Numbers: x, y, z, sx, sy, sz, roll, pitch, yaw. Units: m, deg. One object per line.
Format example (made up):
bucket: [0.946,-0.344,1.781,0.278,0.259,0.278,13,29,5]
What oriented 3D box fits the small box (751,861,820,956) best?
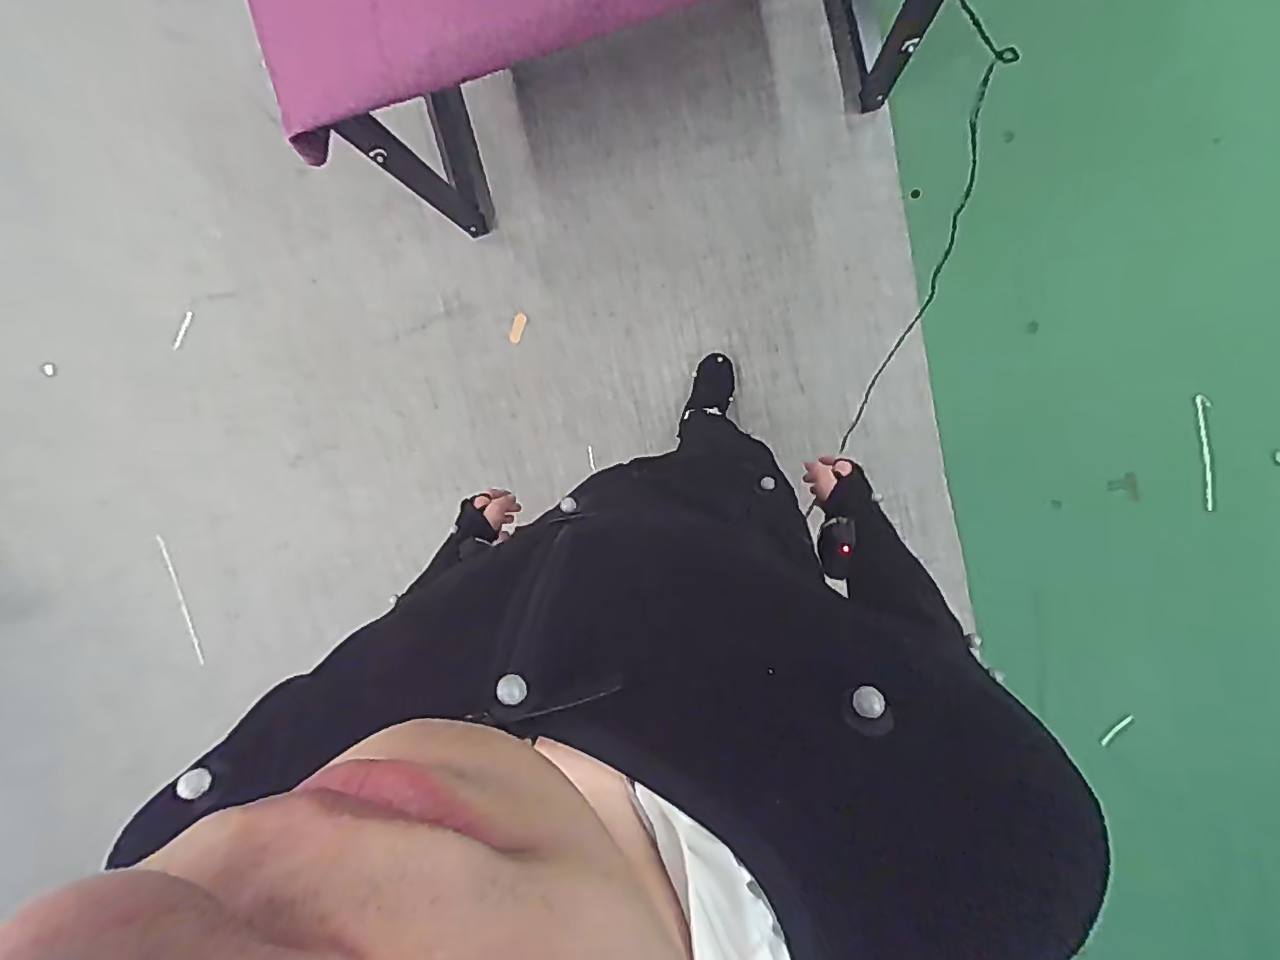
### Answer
small box: [0.443,1.311,1.665,0.179,0.176,0.168,-7,97,8]
